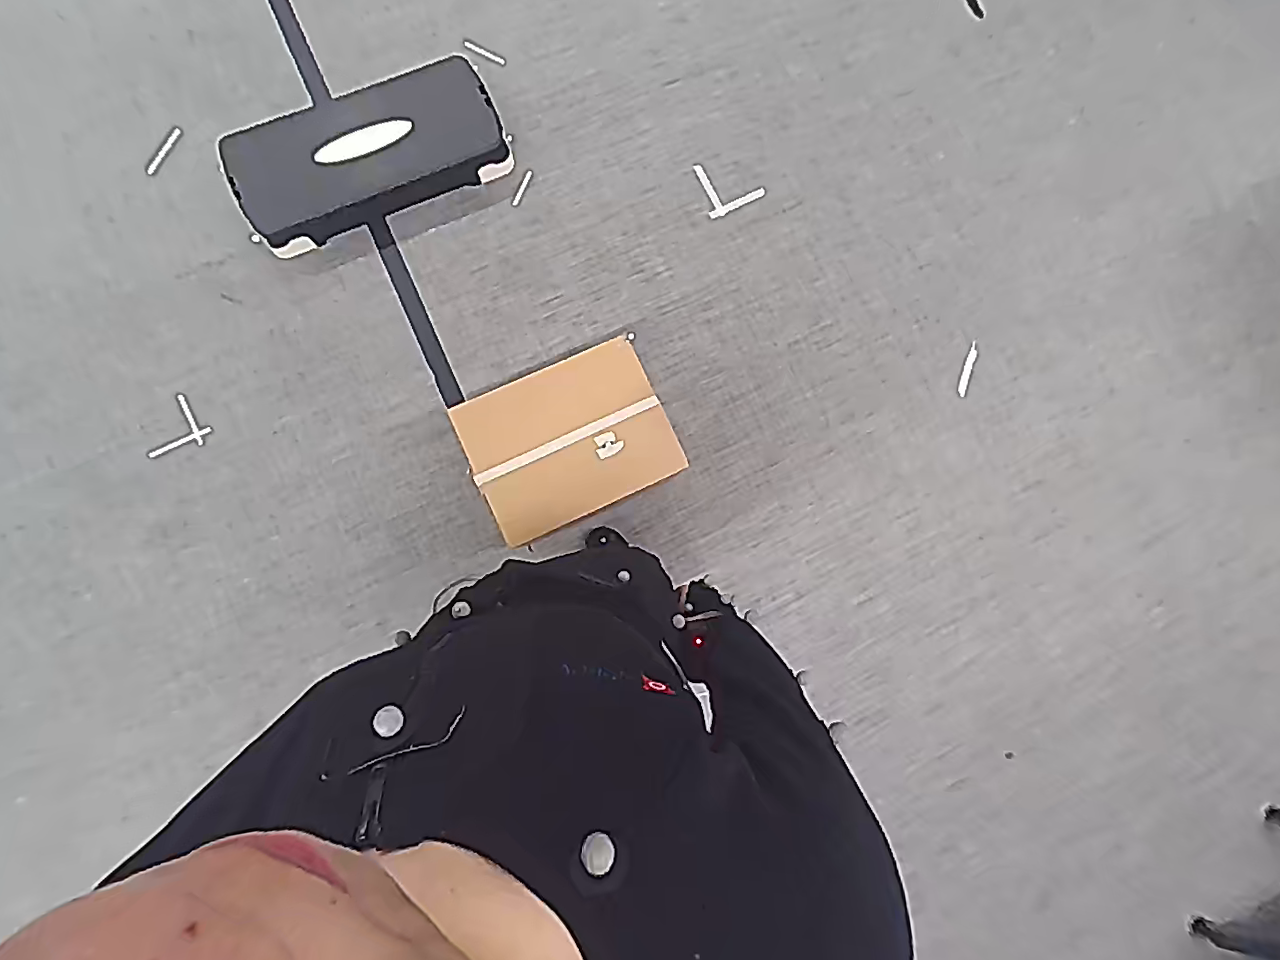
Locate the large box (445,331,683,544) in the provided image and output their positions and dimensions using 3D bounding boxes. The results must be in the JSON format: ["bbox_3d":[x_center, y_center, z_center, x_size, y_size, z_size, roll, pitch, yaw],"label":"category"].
[{"bbox_3d":[-0.165,-0.076,1.242,0.408,0.320,0.320,-25,88,-8],"label":"large box"}]
